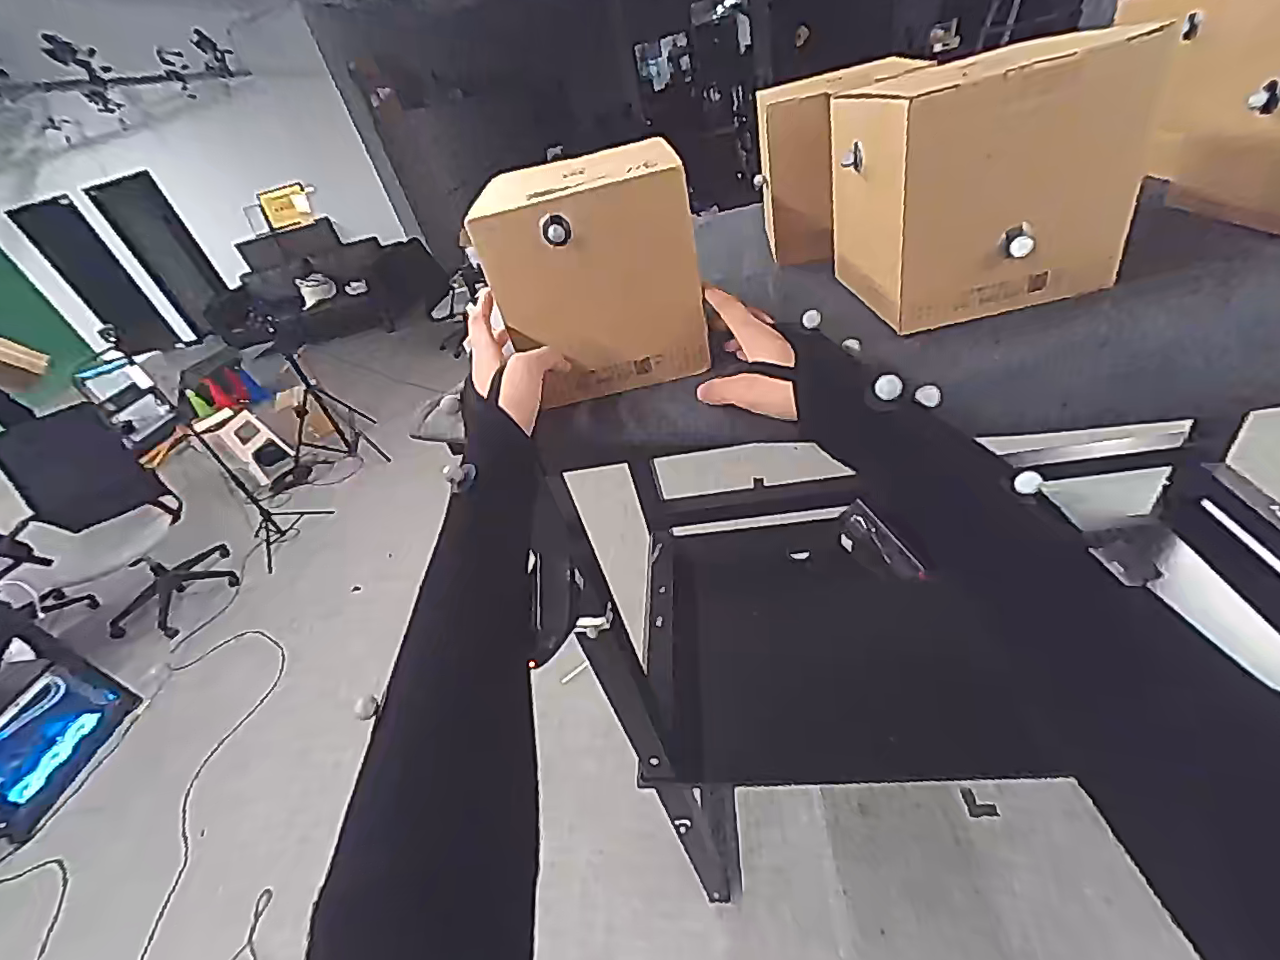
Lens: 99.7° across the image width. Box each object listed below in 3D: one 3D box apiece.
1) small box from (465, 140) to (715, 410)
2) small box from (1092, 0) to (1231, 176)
[{"bbox_3d":[-0.034,-0.188,0.494,0.168,0.176,0.179,-13,37,5],"label":"small box"},{"bbox_3d":[0.629,-0.438,0.567,0.168,0.176,0.179,-8,39,11],"label":"small box"}]
